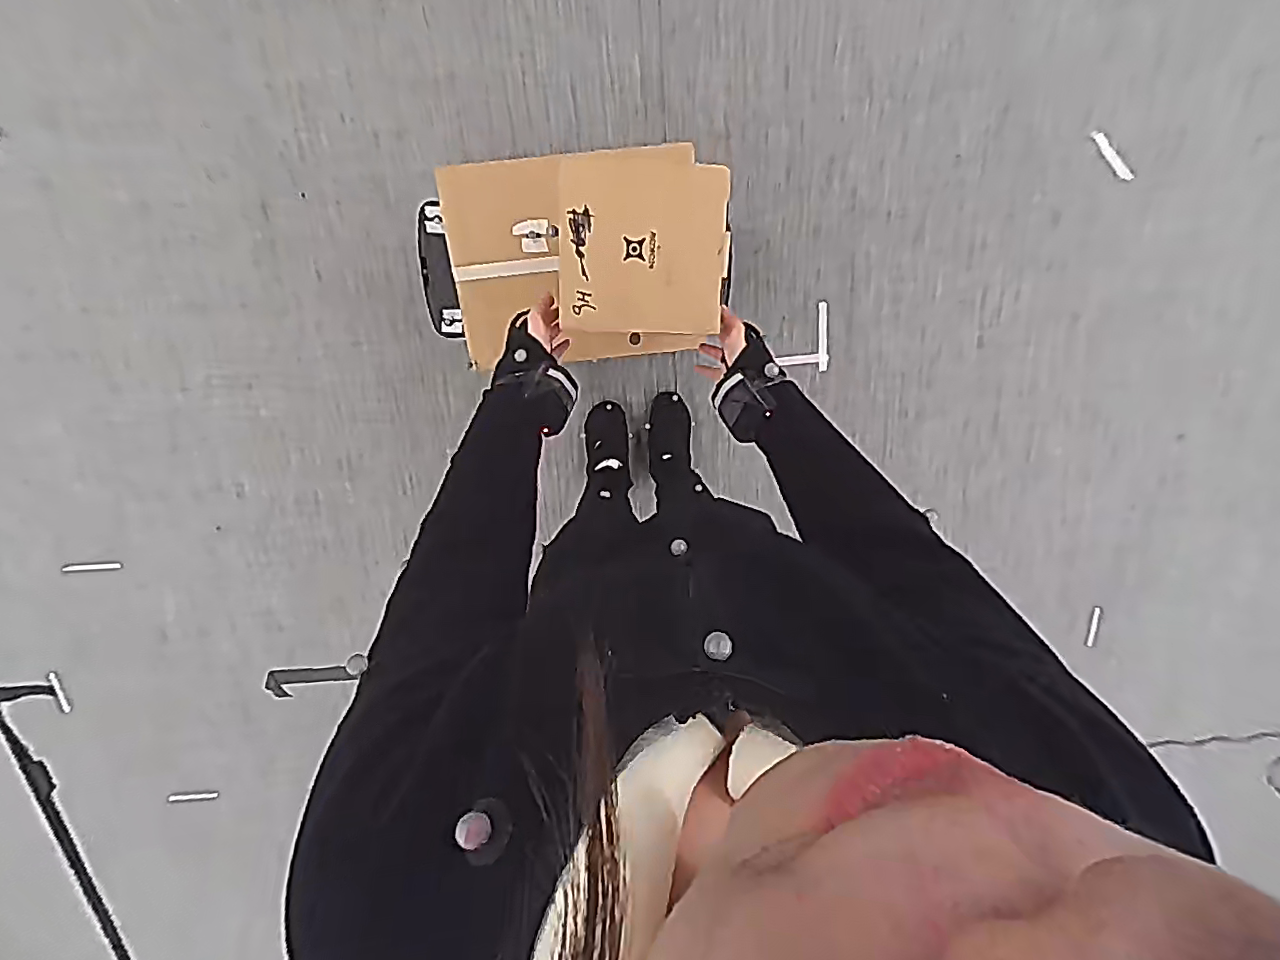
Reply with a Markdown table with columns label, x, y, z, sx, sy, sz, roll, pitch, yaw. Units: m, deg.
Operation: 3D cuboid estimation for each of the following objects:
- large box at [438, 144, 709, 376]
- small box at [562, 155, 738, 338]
| label | x | y | z | sx | sy | sz | roll | pitch | yaw |
| --- | --- | --- | --- | --- | --- | --- | --- | --- | --- |
| large box | -0.100 | -0.387 | 1.011 | 0.408 | 0.320 | 0.320 | -6 | 106 | 0 |
| small box | 0.003 | -0.256 | 0.627 | 0.179 | 0.176 | 0.168 | 1 | 105 | -4 |
